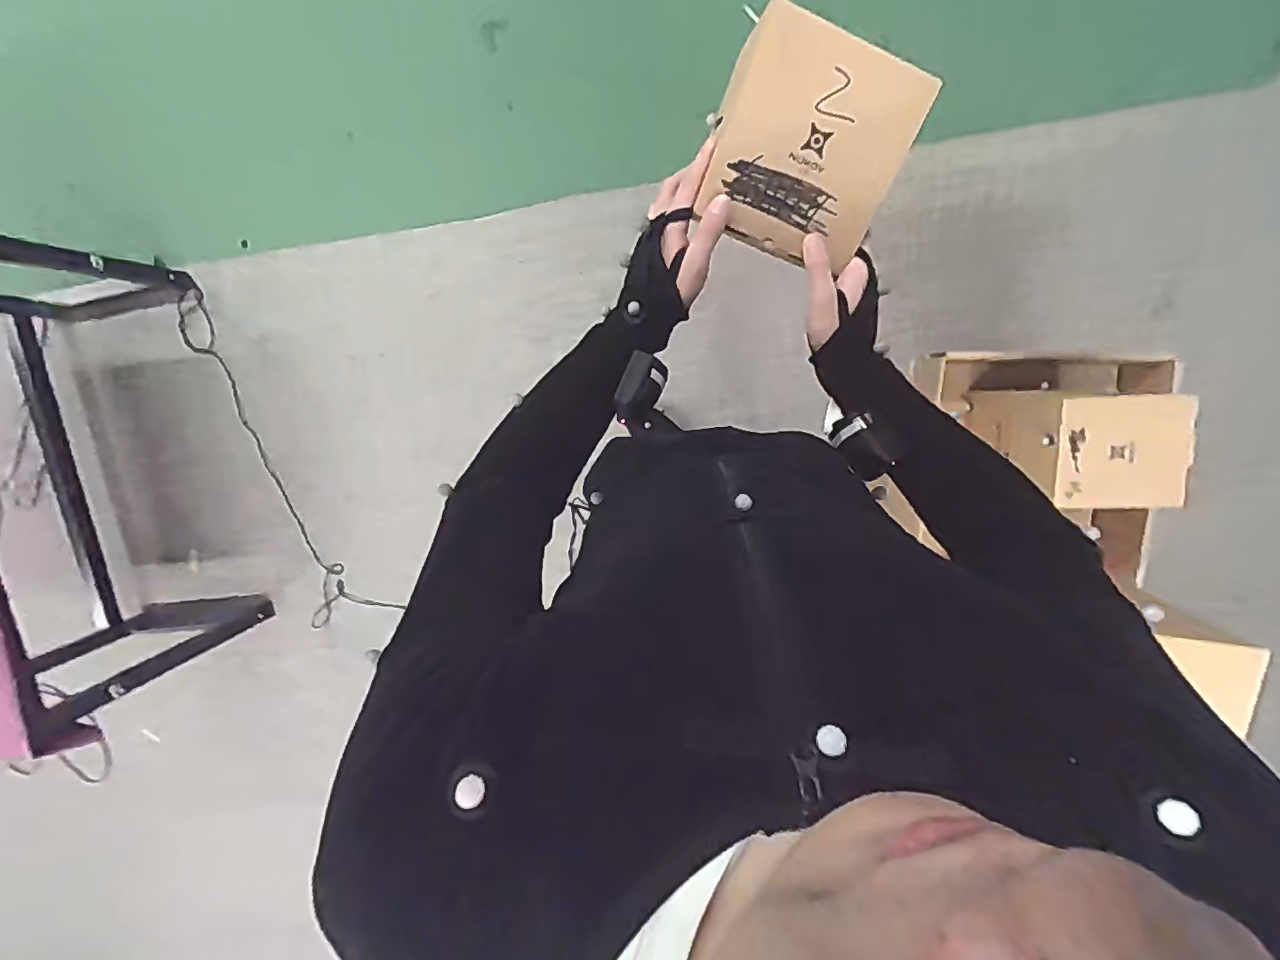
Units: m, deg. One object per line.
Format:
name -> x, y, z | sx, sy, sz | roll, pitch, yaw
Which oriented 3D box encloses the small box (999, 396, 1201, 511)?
small box -> 0.715, -0.049, 0.861 | 0.179, 0.176, 0.168 | 0, 99, 7
